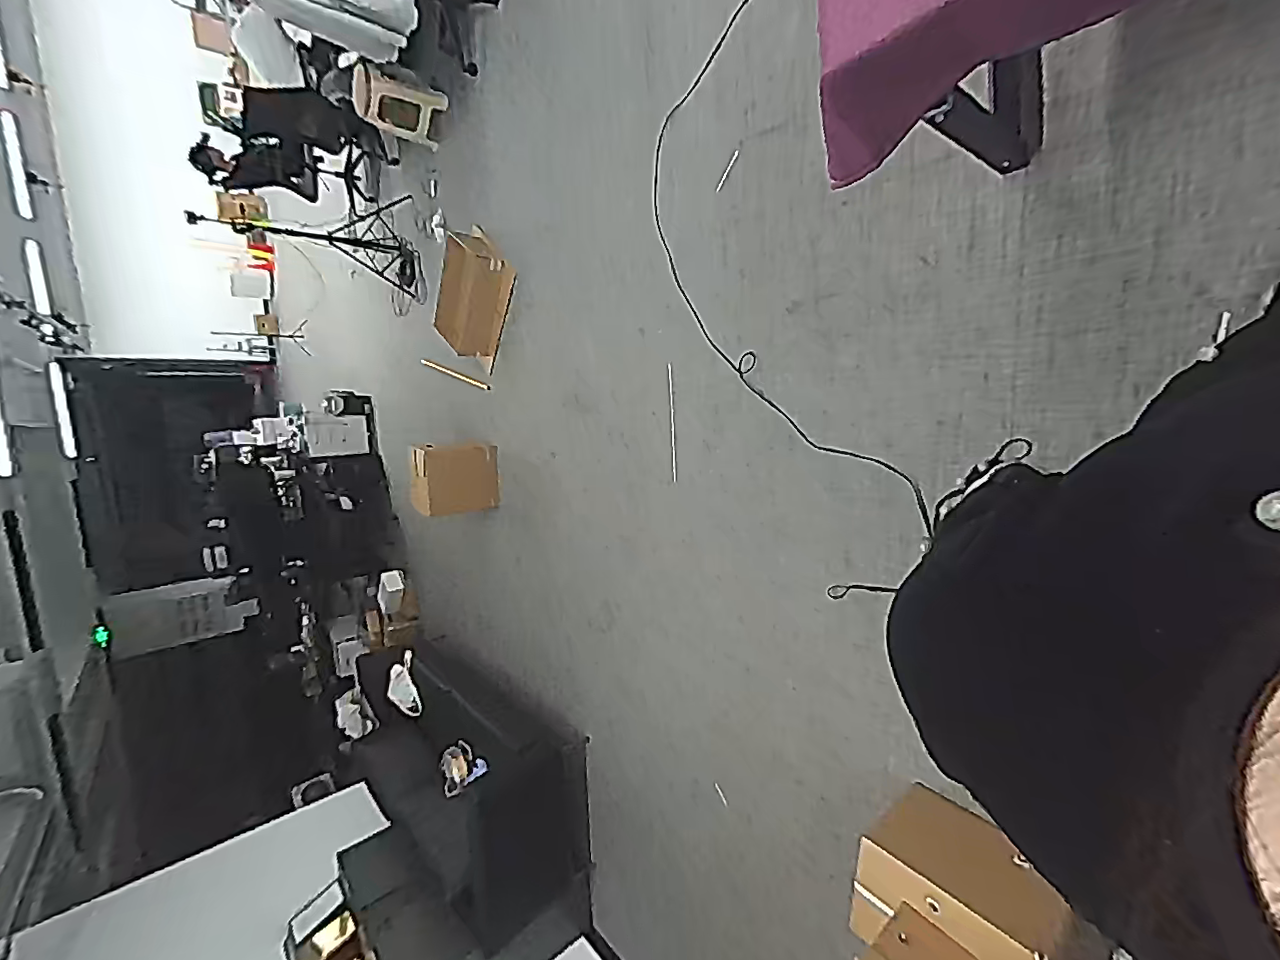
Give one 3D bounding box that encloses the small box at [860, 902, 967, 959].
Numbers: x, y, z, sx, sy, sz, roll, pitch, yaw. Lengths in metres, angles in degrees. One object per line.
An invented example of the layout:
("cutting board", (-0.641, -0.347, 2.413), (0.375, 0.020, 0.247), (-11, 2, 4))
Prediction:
("small box", (0.628, 1.142, 1.264), (0.179, 0.176, 0.168), (20, 114, 46))
